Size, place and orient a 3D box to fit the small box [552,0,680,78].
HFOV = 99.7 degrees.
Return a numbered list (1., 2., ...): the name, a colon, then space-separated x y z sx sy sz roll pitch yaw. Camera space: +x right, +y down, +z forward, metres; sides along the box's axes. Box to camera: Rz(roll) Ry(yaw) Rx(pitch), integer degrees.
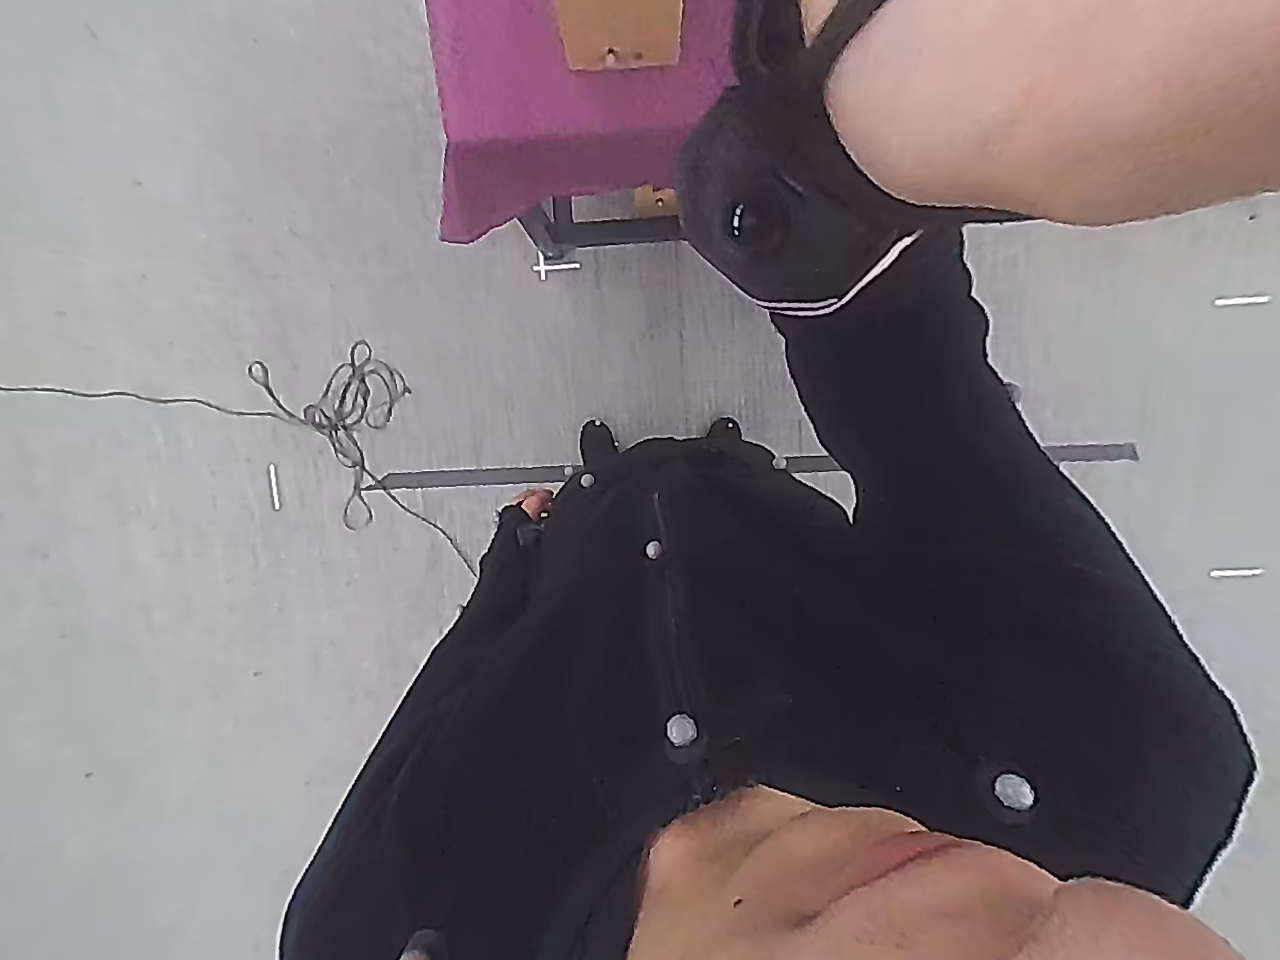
1. small box: -0.033 -0.688 0.726 0.168 0.176 0.179 -2 97 3
